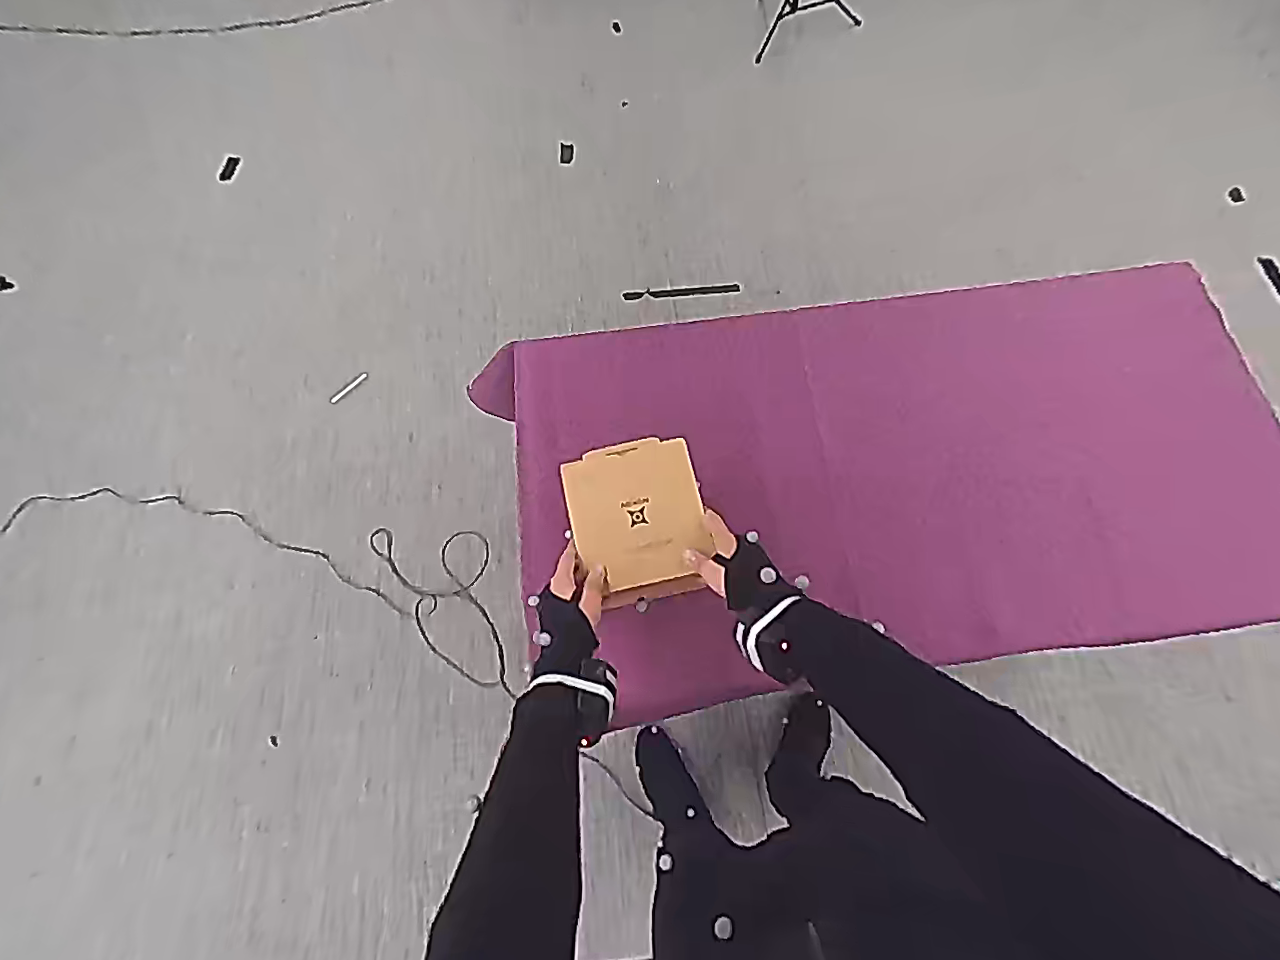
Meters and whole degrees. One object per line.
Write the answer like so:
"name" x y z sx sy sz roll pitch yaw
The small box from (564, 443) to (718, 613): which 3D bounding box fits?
"small box" -0.002 0.073 0.747 0.168 0.176 0.179 -12 70 -3
